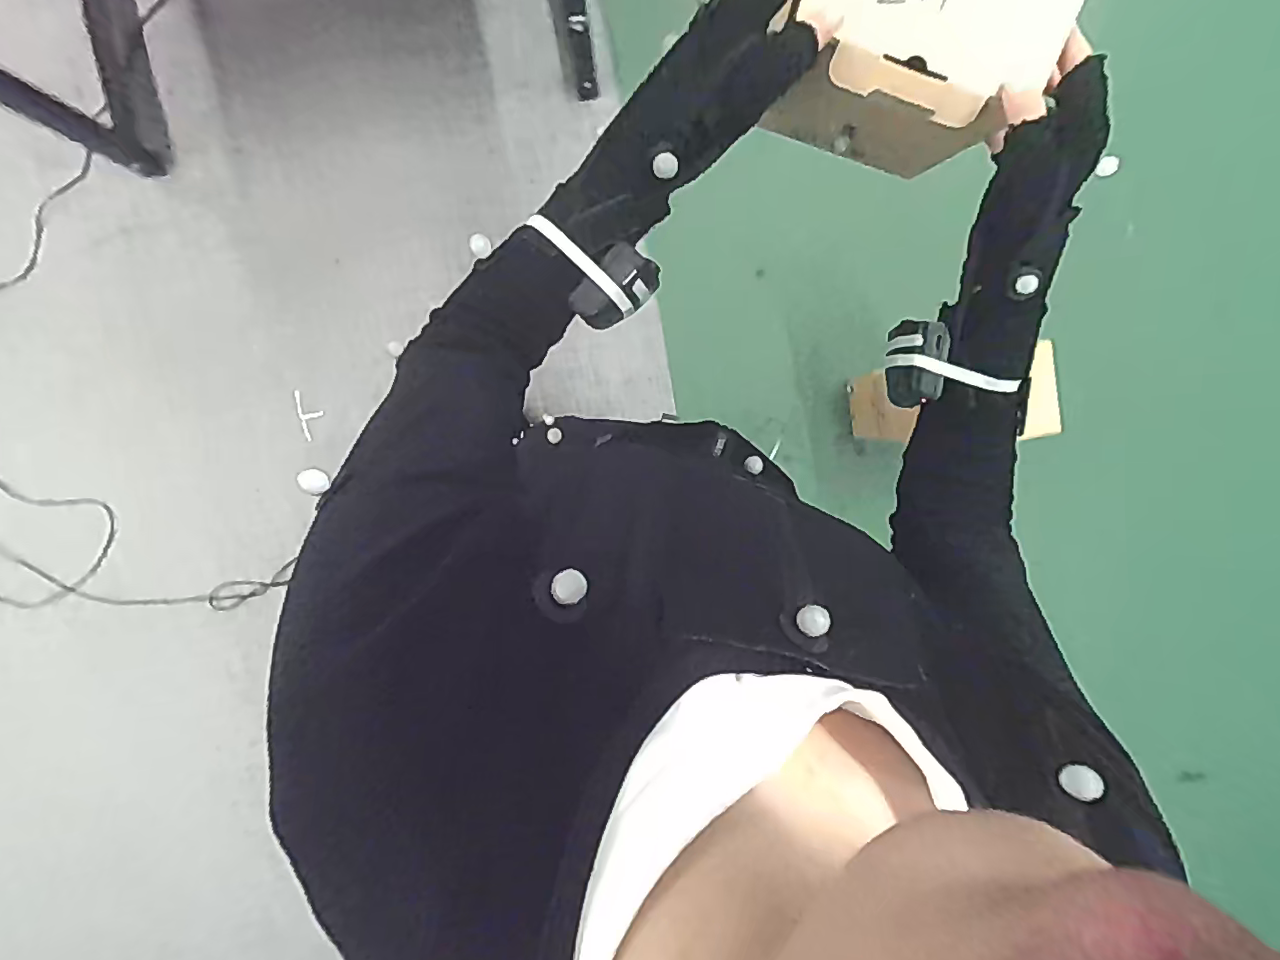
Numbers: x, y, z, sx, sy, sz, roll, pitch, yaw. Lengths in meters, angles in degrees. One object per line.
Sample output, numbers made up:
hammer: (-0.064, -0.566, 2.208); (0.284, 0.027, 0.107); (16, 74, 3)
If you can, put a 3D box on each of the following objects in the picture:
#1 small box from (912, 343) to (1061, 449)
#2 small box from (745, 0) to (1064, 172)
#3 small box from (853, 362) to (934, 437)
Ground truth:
small box: (0.661, -0.160, 1.046); (0.179, 0.176, 0.168); (-11, 97, 1)
small box: (0.189, -0.362, 0.396); (0.168, 0.176, 0.179); (16, 106, -4)
small box: (0.657, -0.200, 1.372); (0.179, 0.176, 0.168); (-9, 97, 0)
